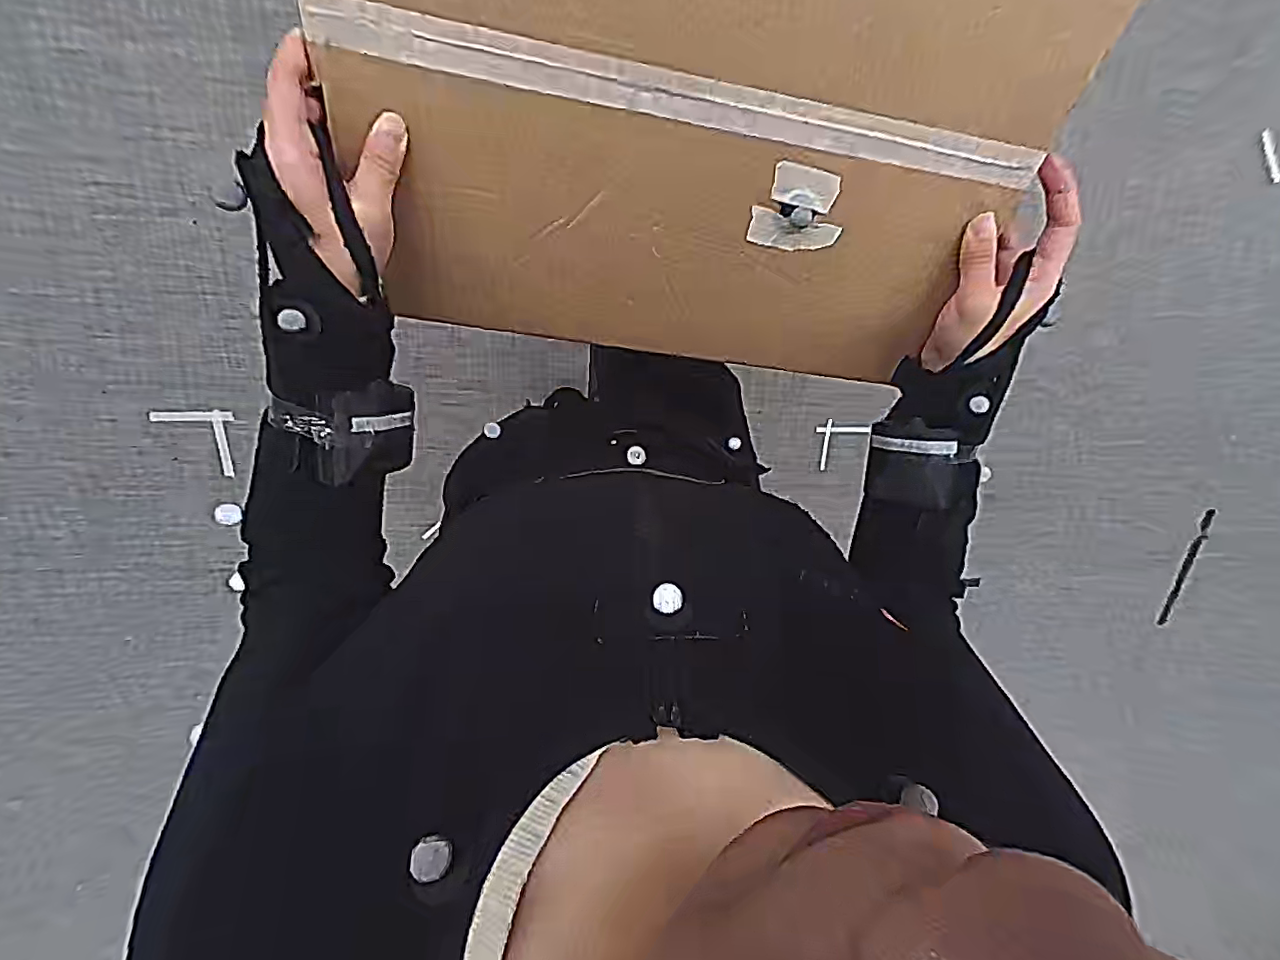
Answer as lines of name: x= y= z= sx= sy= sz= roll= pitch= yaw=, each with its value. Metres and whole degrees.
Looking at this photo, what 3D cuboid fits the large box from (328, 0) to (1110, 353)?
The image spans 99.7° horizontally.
large box: x=0.029 y=-0.327 z=0.402 sx=0.408 sy=0.320 sz=0.320 roll=5 pitch=134 yaw=-10
